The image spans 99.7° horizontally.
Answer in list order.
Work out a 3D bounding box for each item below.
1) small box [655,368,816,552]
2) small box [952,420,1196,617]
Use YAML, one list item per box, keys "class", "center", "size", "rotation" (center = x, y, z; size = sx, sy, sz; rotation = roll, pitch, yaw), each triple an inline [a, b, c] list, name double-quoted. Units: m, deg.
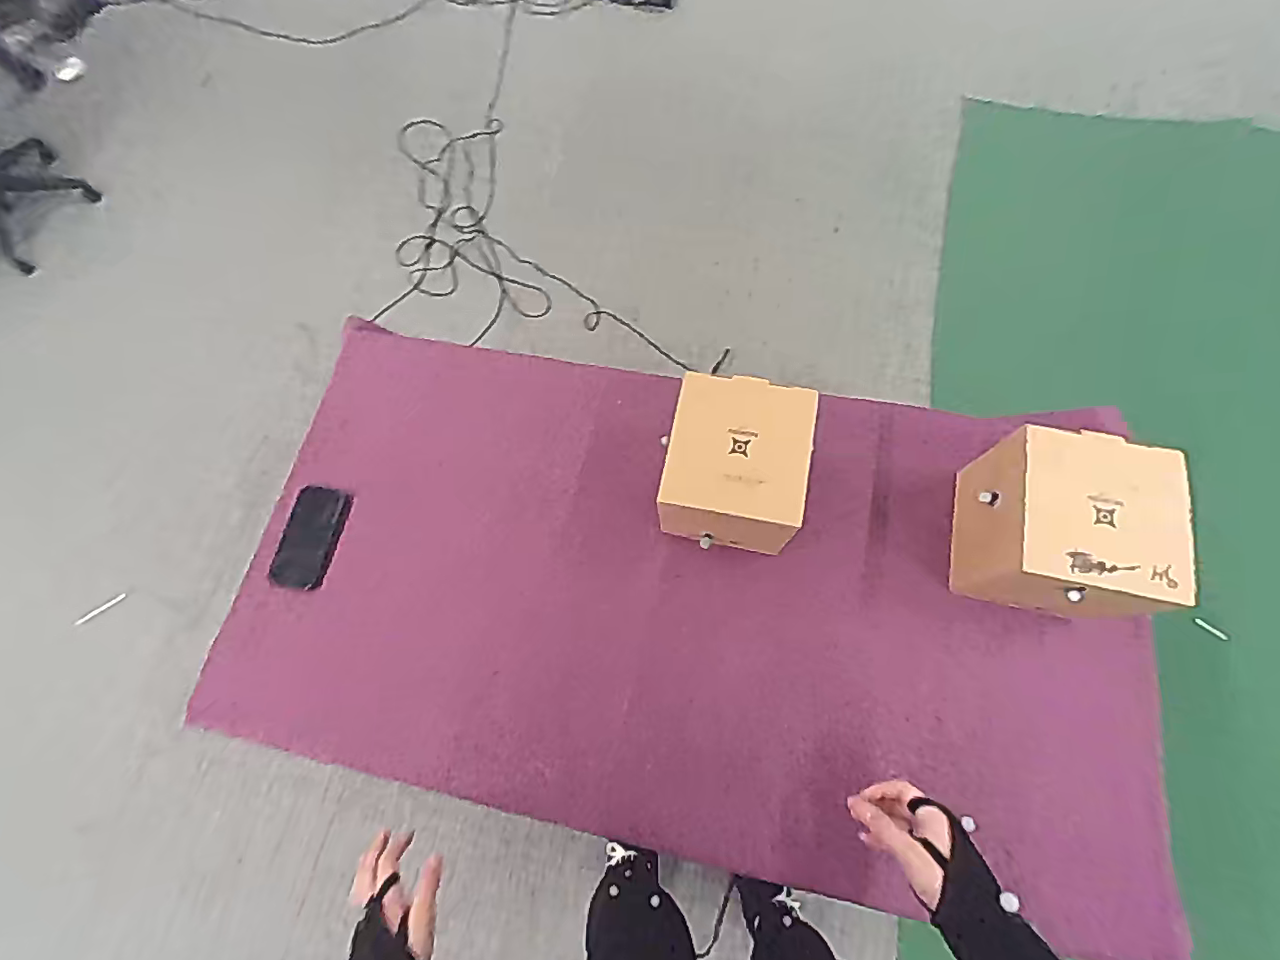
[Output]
- class: "small box"
  center: [0.120, -0.018, 0.708]
  size: [0.168, 0.176, 0.179]
  rotation: [10, 73, 9]
- class: "small box"
  center: [0.499, 0.054, 0.649]
  size: [0.168, 0.176, 0.179]
  rotation: [11, 72, 9]
